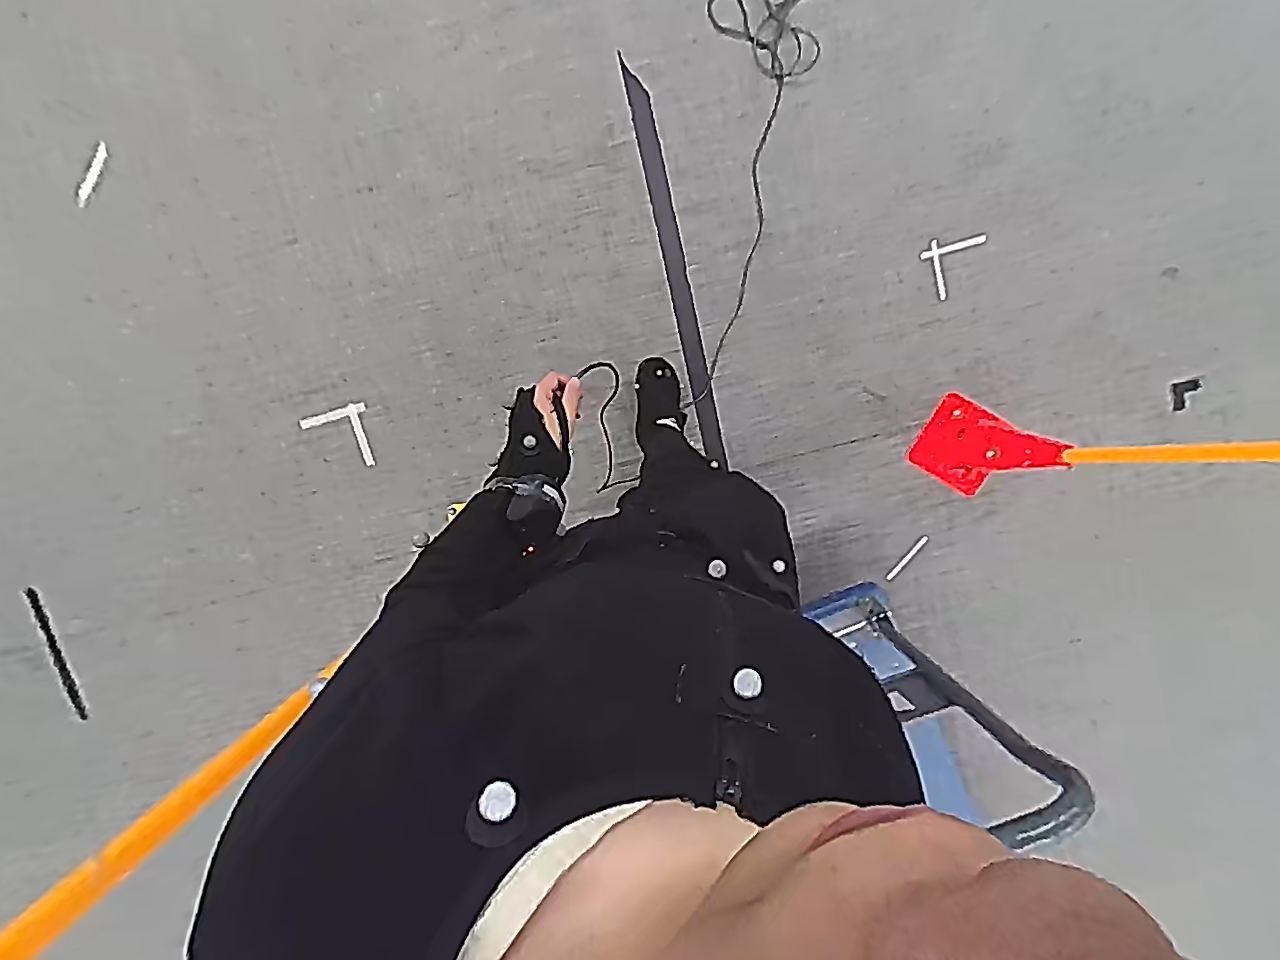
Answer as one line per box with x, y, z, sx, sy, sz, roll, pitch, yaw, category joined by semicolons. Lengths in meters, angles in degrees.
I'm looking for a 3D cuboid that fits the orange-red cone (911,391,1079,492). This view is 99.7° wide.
0.776;-0.068;1.140;0.198;0.360;0.199;31;98;-2;orange-red cone
